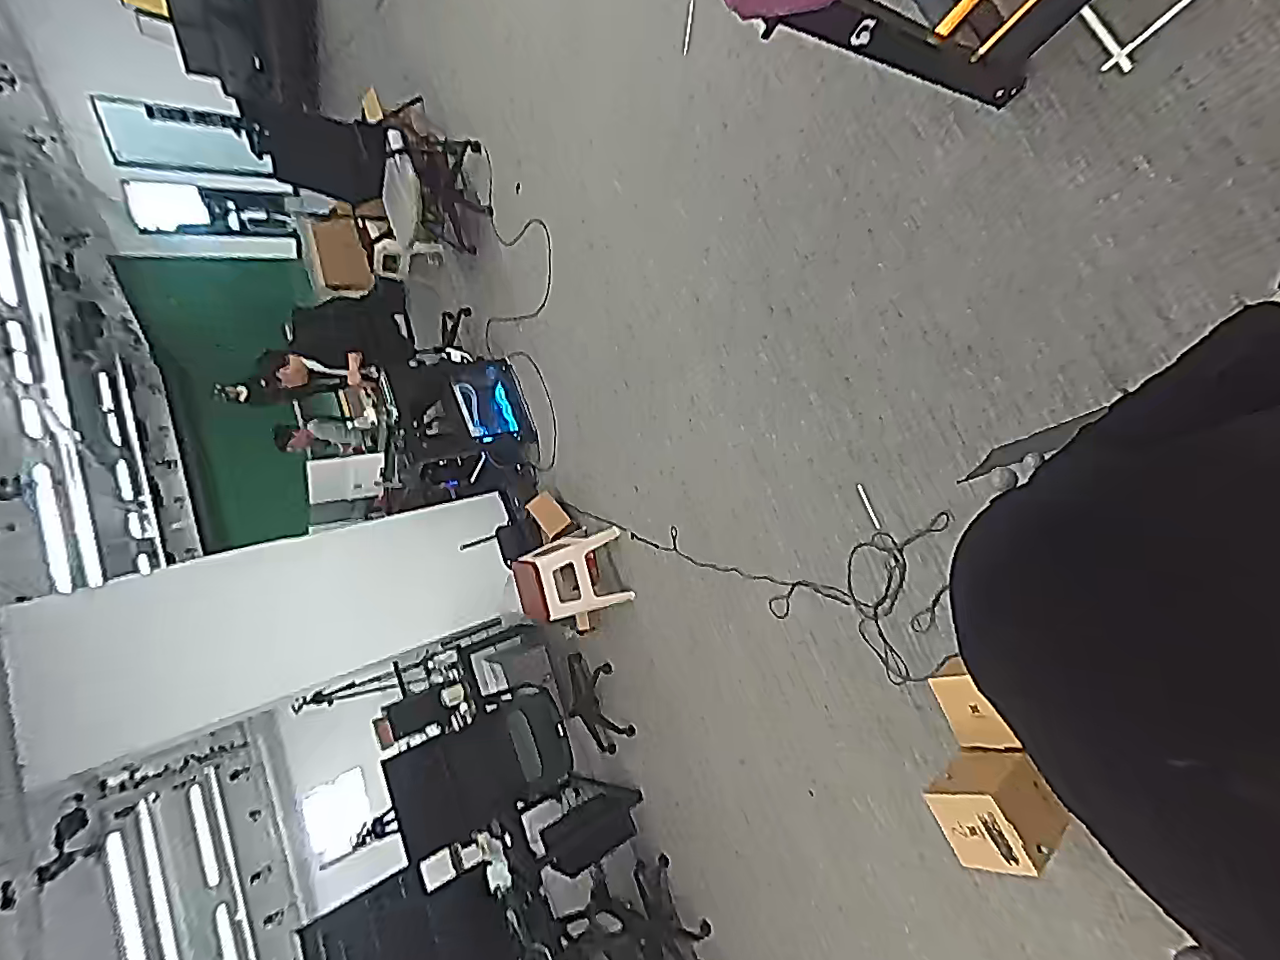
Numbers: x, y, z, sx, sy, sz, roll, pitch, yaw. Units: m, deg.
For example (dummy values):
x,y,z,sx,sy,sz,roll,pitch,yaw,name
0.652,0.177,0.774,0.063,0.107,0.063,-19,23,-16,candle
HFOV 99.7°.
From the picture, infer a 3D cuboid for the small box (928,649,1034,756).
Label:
x,y,z,sx,sy,sz,roll,pitch,yaw,name
0.808,0.521,1.281,0.179,0.176,0.168,5,93,44,small box
